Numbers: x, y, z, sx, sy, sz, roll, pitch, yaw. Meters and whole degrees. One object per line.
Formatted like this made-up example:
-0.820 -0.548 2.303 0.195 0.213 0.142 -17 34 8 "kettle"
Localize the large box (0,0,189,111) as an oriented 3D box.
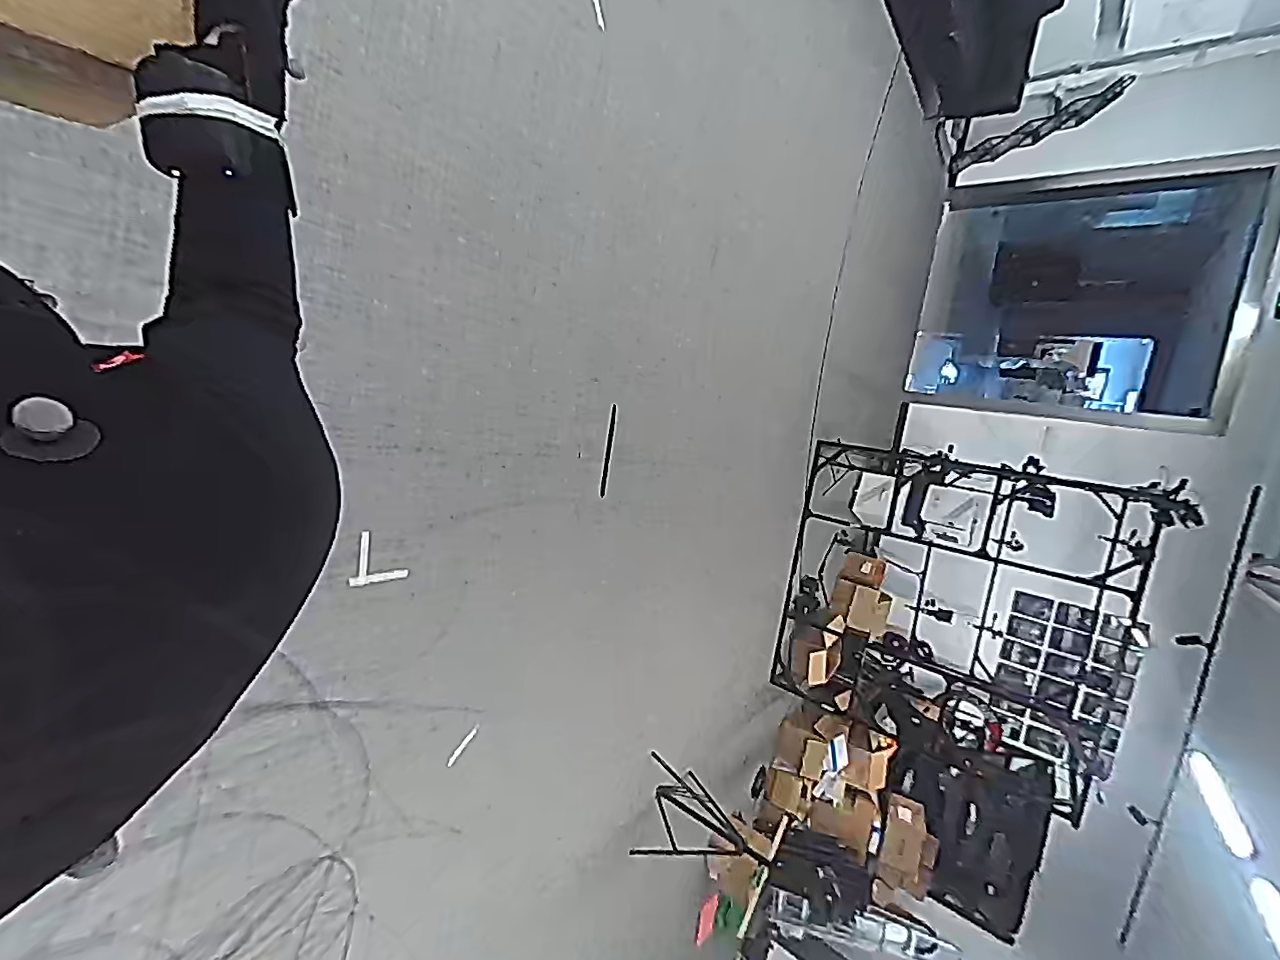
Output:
-0.534 -0.452 0.273 0.408 0.320 0.320 -9 115 -53 "large box"
